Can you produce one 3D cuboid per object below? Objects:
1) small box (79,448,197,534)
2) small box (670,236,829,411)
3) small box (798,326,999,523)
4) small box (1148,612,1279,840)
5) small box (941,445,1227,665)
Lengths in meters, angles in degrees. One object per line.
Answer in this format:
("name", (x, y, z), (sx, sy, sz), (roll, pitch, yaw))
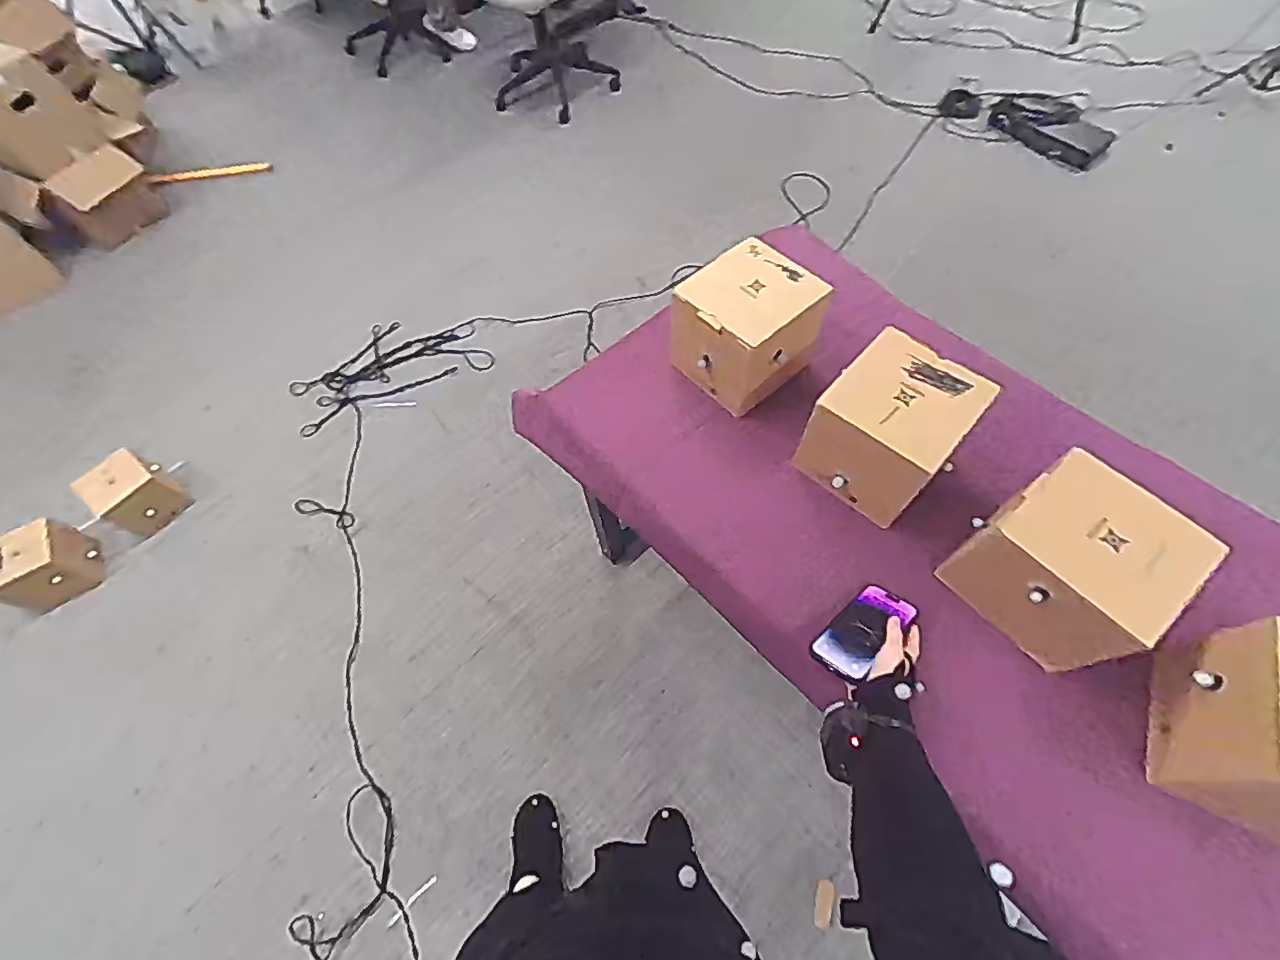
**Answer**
("small box", (-1.509, 0.041, 1.638), (0.179, 0.176, 0.168), (34, 69, 20))
("small box", (0.168, -0.243, 0.867), (0.179, 0.176, 0.168), (-38, 66, -16))
("small box", (0.347, -0.073, 0.762), (0.168, 0.176, 0.179), (39, 71, 22))
("small box", (0.678, 0.266, 0.553), (0.179, 0.176, 0.168), (23, 64, 15))
("small box", (0.513, 0.098, 0.658), (0.168, 0.176, 0.179), (-36, 65, -15))
